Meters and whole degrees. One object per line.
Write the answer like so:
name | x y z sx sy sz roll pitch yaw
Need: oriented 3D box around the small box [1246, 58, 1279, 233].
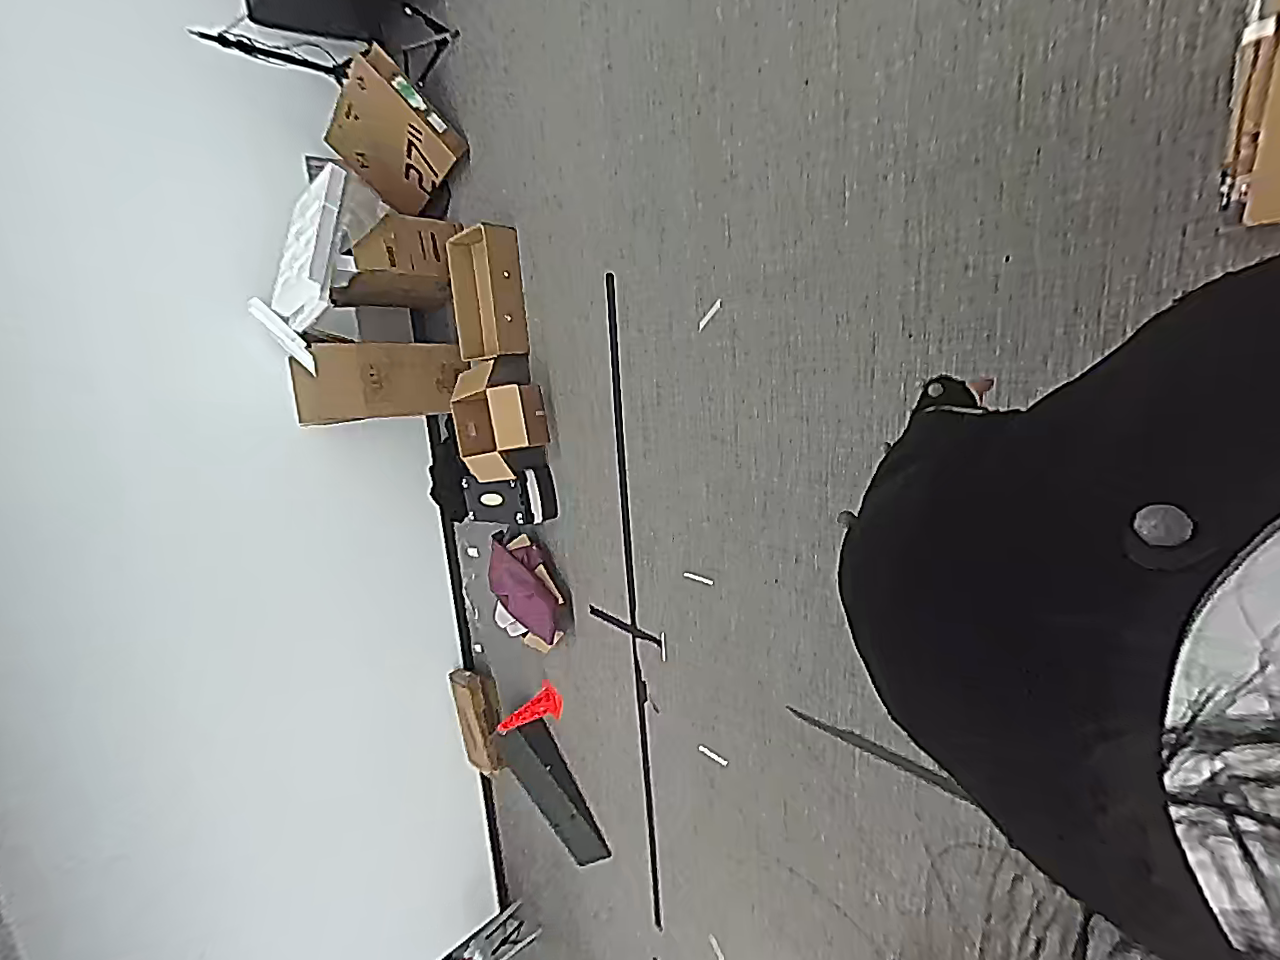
small box | 0.743 -0.357 0.537 0.168 0.176 0.179 12 113 48

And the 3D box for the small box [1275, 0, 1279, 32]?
small box | 0.721 -0.543 0.493 0.168 0.176 0.179 8 111 48
